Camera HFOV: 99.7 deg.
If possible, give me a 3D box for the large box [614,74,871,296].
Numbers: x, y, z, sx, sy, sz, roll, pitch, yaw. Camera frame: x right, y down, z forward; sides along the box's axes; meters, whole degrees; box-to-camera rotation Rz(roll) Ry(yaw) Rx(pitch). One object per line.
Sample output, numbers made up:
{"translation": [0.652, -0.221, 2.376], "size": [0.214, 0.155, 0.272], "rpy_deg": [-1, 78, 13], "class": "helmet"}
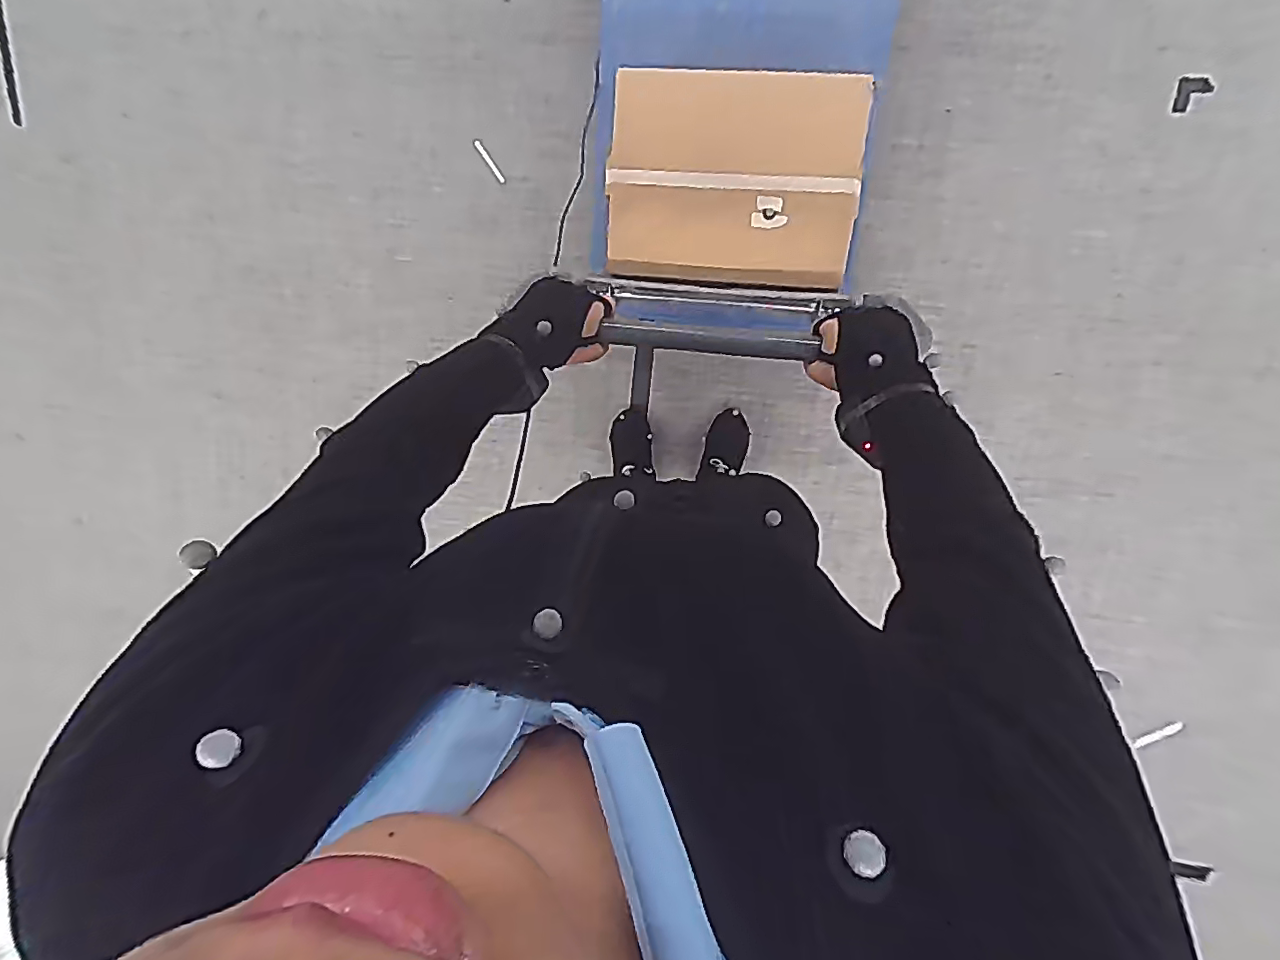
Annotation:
{"translation": [0.172, -0.535, 1.042], "size": [0.408, 0.320, 0.320], "rpy_deg": [6, 107, 5], "class": "large box"}
